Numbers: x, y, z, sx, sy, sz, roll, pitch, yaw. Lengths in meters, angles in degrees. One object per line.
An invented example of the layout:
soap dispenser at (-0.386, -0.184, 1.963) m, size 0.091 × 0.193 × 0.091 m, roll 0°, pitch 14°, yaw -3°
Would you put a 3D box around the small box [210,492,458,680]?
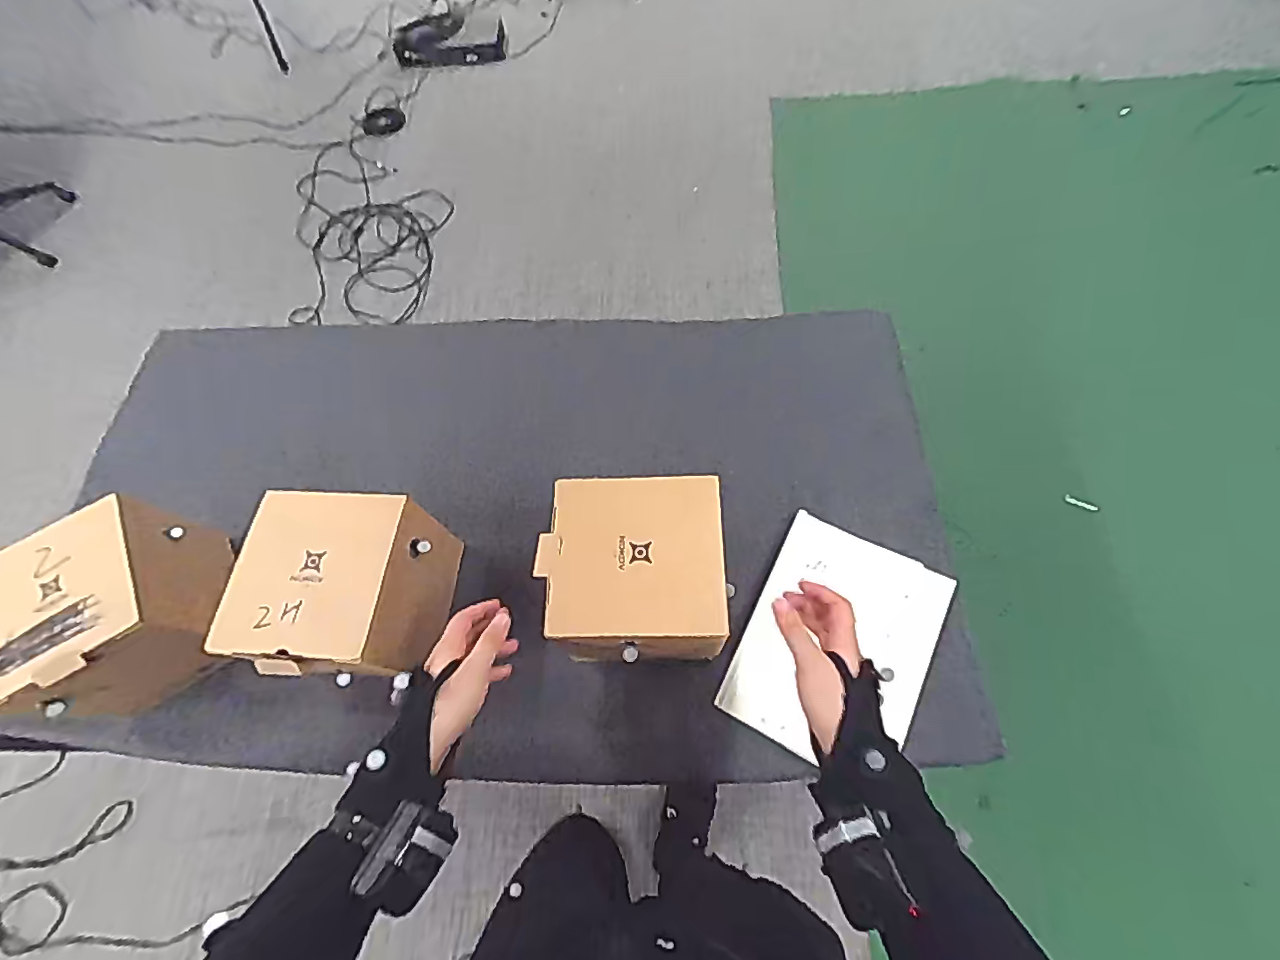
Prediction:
small box at (-0.331, 0.128, 0.630) m, size 0.168 × 0.176 × 0.179 m, roll 1°, pitch 65°, yaw 6°
